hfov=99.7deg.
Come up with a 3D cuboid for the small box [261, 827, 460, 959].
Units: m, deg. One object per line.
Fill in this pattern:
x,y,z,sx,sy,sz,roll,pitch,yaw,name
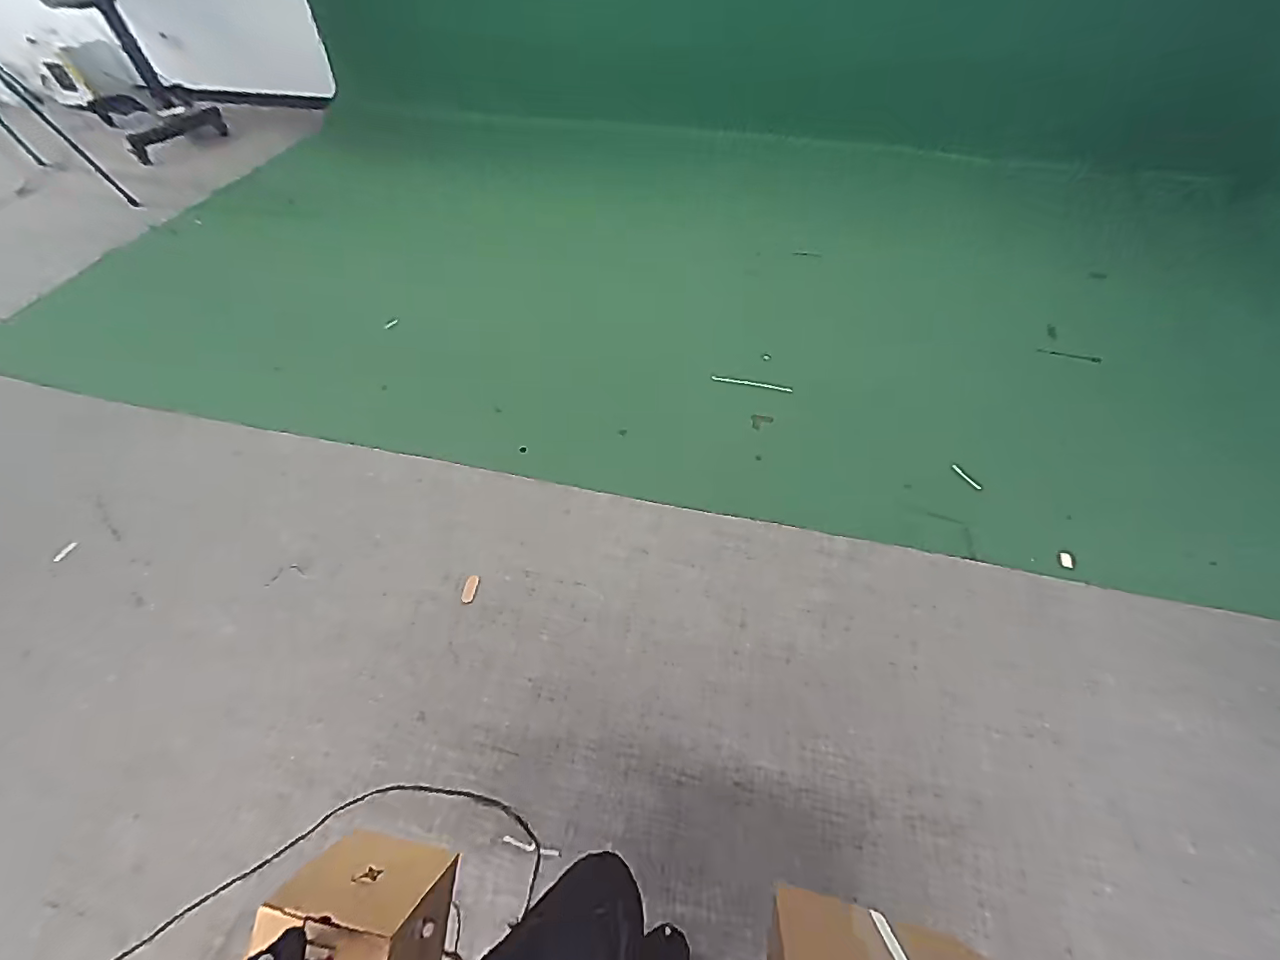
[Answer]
-0.355,0.586,0.684,0.168,0.179,0.176,7,85,8,small box
